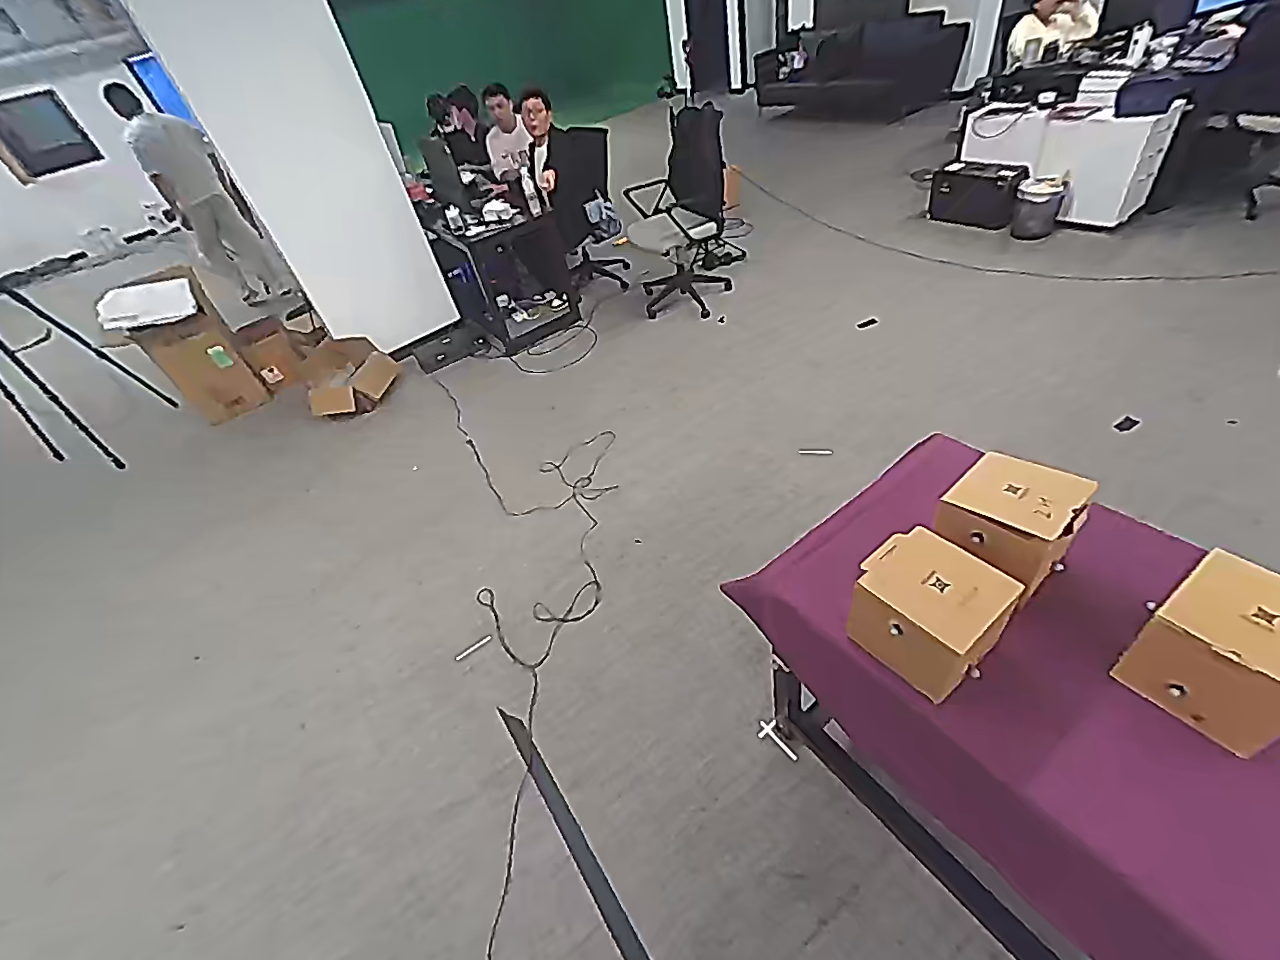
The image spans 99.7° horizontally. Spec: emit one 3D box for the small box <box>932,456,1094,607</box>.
[{"bbox_3d":[0.650,0.093,0.971,0.168,0.176,0.179,-35,47,-21],"label":"small box"}]

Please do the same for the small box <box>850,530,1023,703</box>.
[{"bbox_3d":[0.466,0.222,0.881,0.168,0.176,0.179,-33,46,-20],"label":"small box"}]
